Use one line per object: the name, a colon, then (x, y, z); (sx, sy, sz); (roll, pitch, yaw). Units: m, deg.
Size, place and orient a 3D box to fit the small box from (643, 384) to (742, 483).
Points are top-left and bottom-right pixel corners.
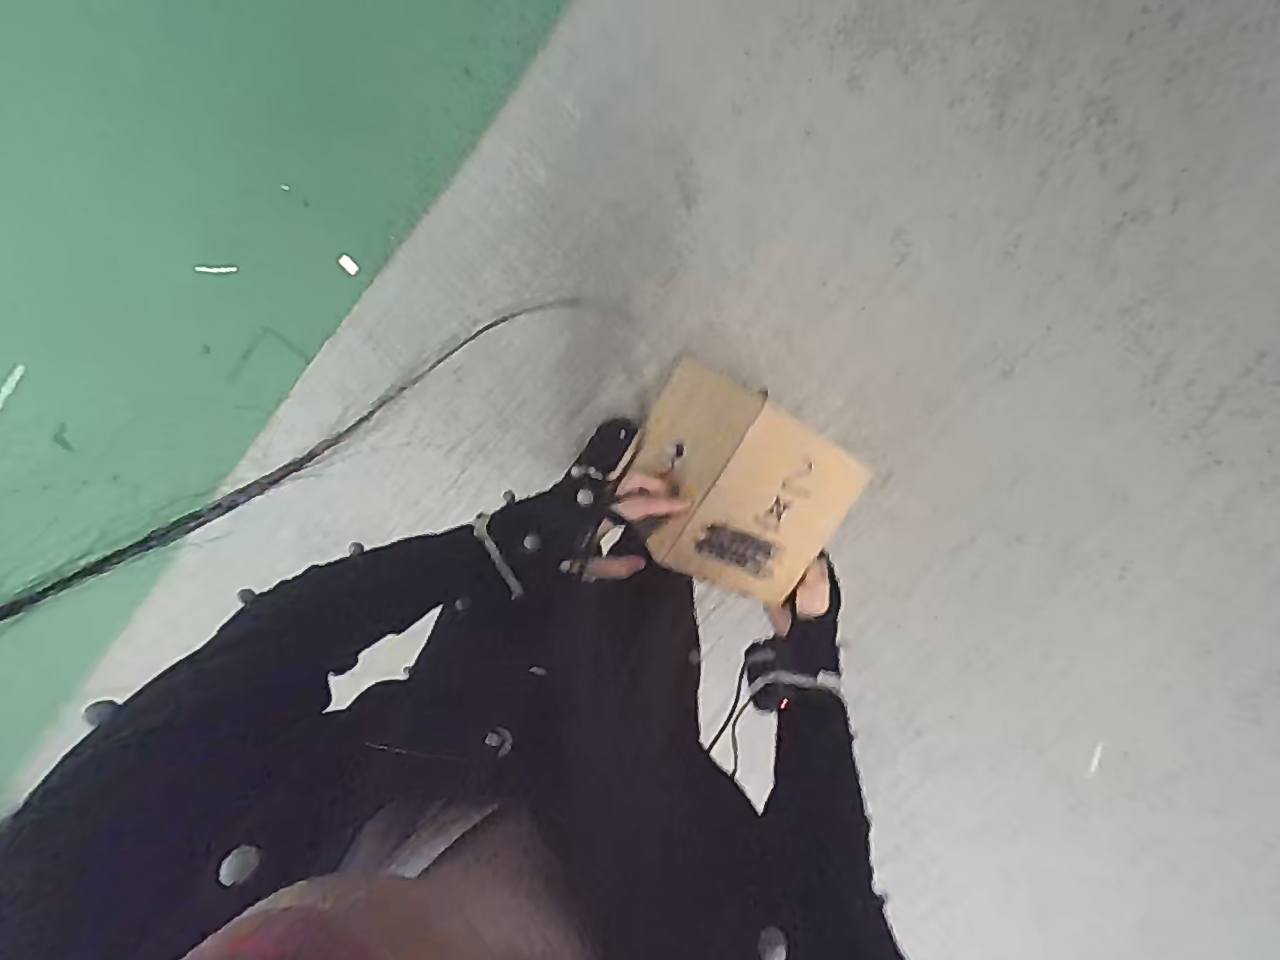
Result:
small box: (0.125, -0.121, 1.331); (0.179, 0.176, 0.168); (-41, 95, 10)
